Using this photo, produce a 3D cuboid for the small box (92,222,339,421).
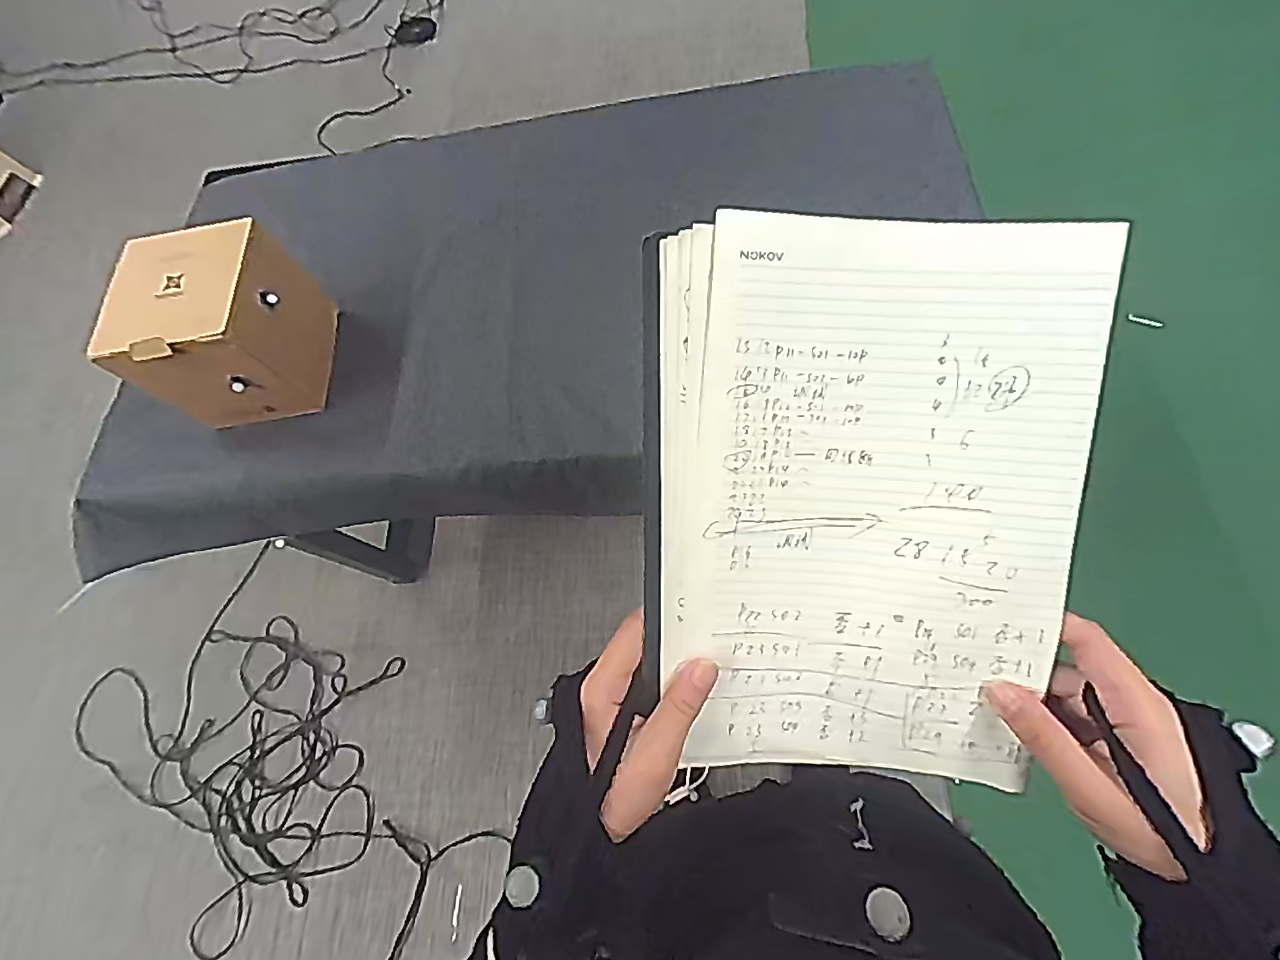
[{"bbox_3d":[-0.517,-0.188,0.691,0.168,0.176,0.179,-8,66,4],"label":"small box"}]
